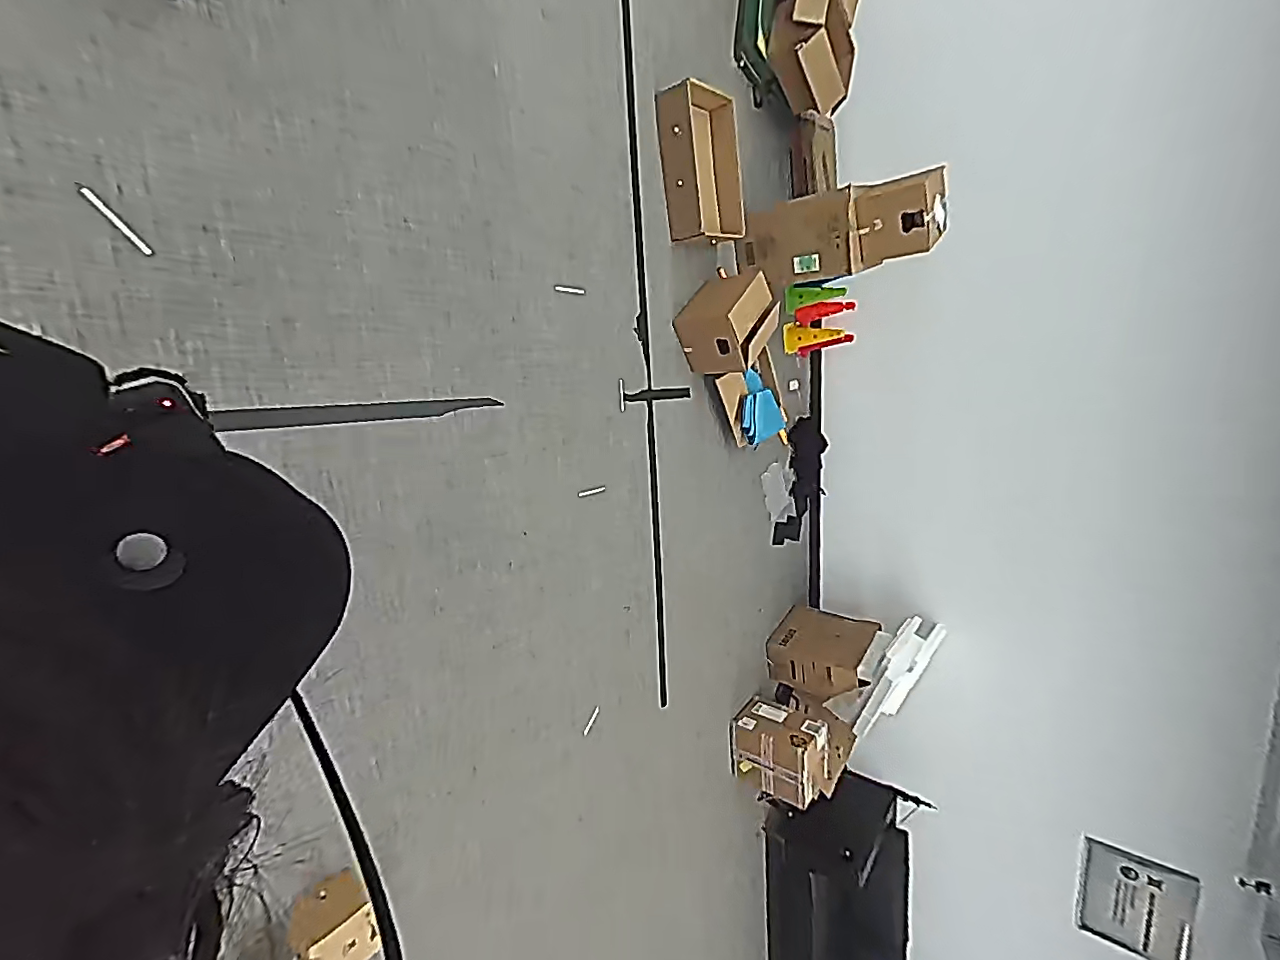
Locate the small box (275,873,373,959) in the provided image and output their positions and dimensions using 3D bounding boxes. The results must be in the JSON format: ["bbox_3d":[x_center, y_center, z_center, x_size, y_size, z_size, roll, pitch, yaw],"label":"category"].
[{"bbox_3d":[-0.854,1.224,1.455,0.179,0.176,0.168,-16,107,-50],"label":"small box"}]
